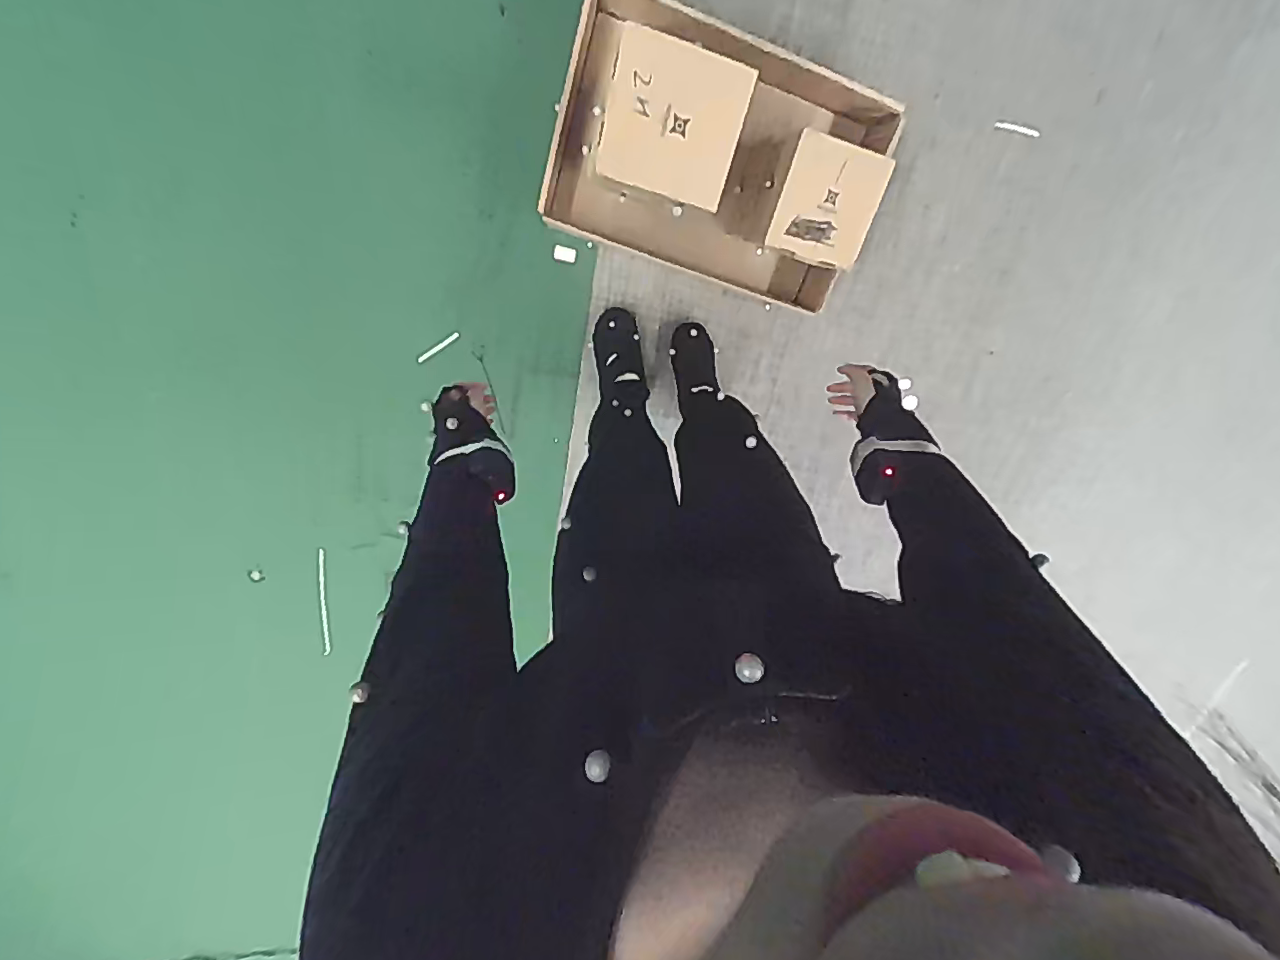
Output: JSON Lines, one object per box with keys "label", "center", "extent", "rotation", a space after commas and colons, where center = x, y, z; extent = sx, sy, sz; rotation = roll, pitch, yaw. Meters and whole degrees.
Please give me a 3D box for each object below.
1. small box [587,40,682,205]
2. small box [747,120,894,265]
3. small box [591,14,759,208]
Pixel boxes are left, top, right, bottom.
{"label": "small box", "center": [0.010, -0.575, 0.894], "extent": [0.168, 0.176, 0.179], "rotation": [14, 115, -12]}
{"label": "small box", "center": [0.301, -0.496, 0.952], "extent": [0.168, 0.176, 0.179], "rotation": [13, 114, -10]}
{"label": "small box", "center": [0.036, -0.494, 0.752], "extent": [0.179, 0.176, 0.168], "rotation": [13, 115, -12]}
